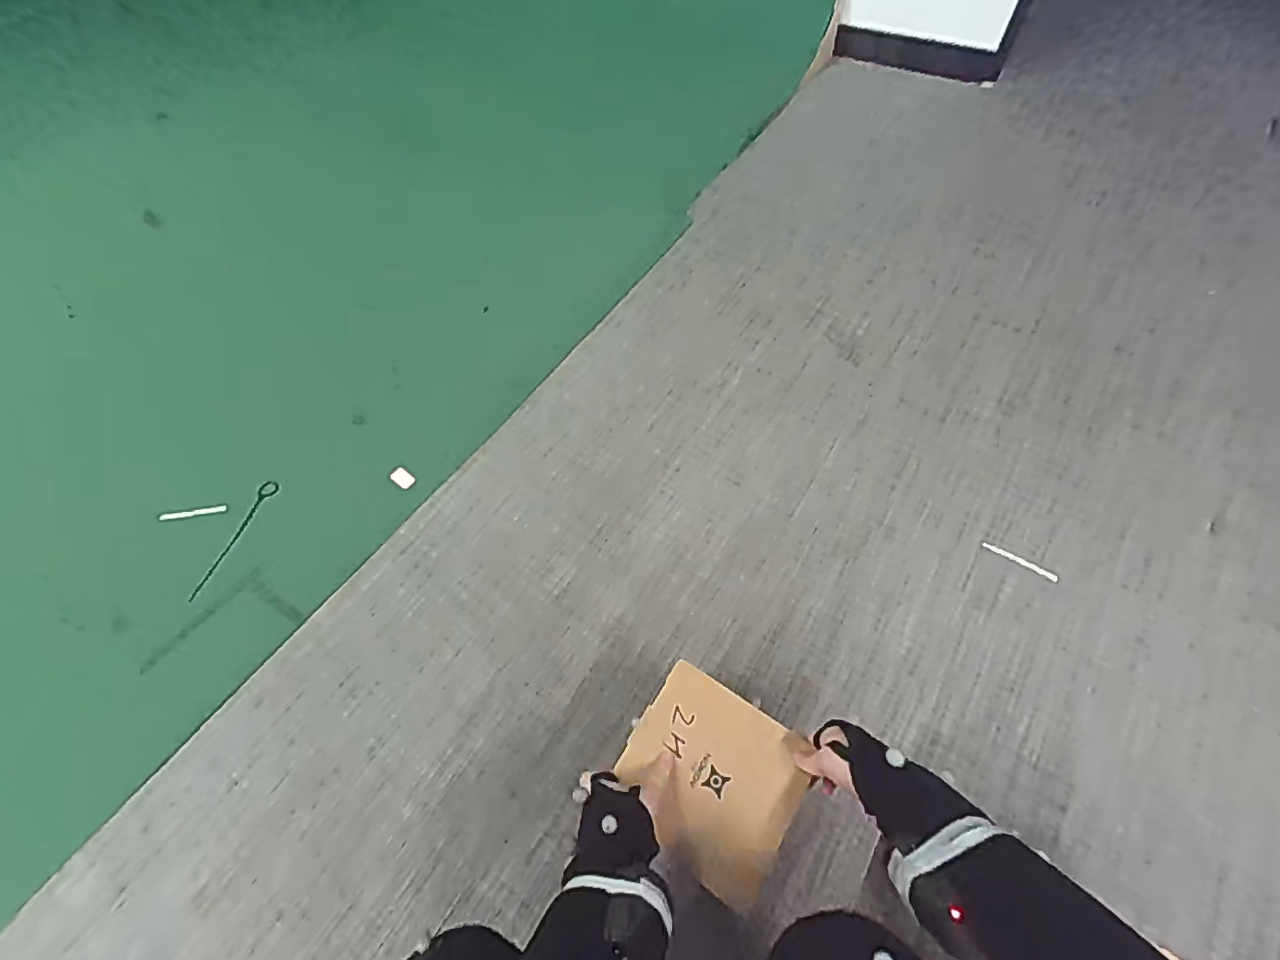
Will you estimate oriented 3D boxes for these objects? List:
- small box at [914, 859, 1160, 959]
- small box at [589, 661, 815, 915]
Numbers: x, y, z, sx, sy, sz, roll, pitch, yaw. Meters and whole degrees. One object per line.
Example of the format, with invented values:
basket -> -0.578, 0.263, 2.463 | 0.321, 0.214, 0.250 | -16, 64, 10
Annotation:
small box -> 0.391, 0.516, 0.532 | 0.168, 0.176, 0.179 | 28, 65, 19
small box -> 0.068, 0.335, 0.621 | 0.179, 0.176, 0.168 | 31, 70, 17
